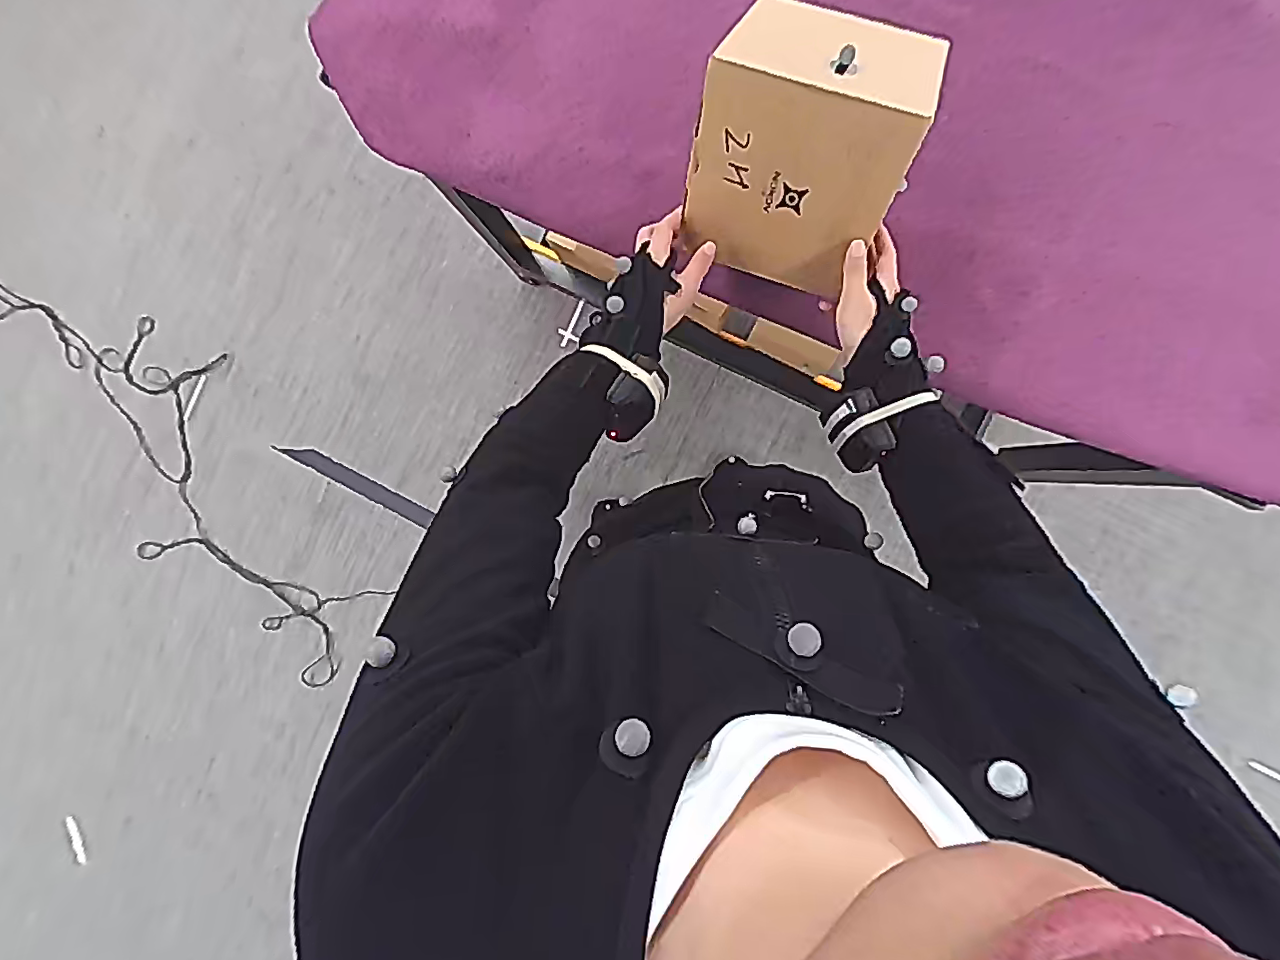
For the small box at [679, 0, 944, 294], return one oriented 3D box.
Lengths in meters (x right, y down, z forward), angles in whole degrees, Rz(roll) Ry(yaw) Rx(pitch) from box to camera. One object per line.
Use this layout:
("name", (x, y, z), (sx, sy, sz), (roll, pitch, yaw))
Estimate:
("small box", (0.156, -0.313, 0.505), (0.179, 0.168, 0.176), (22, 58, 7))
